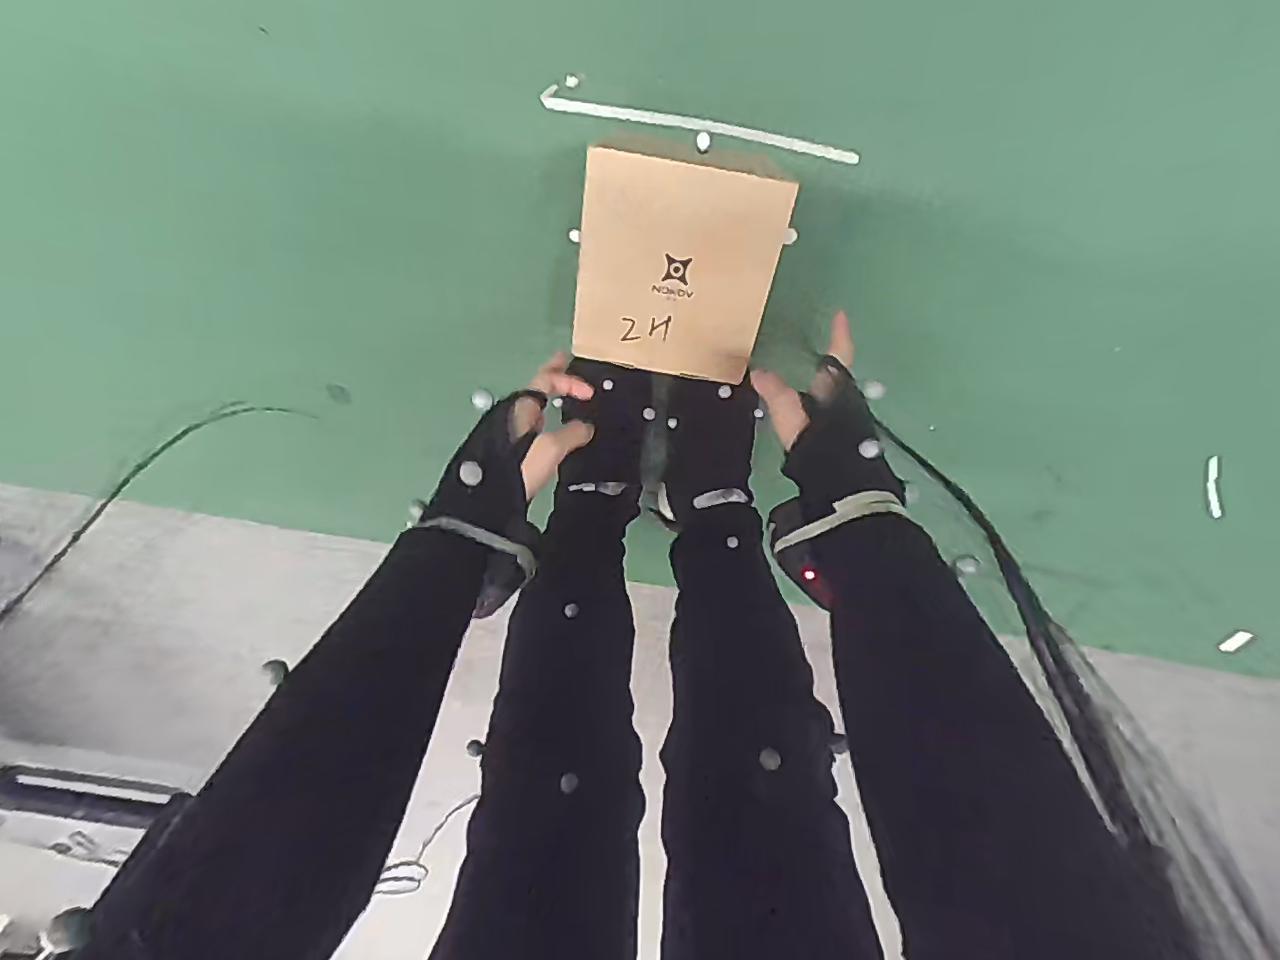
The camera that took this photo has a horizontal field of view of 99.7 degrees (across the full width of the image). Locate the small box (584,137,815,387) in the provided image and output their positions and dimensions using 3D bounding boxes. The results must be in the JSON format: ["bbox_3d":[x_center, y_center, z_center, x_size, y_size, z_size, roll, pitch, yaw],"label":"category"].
[{"bbox_3d":[0.048,-0.218,0.527,0.168,0.176,0.179,11,125,-2],"label":"small box"}]
